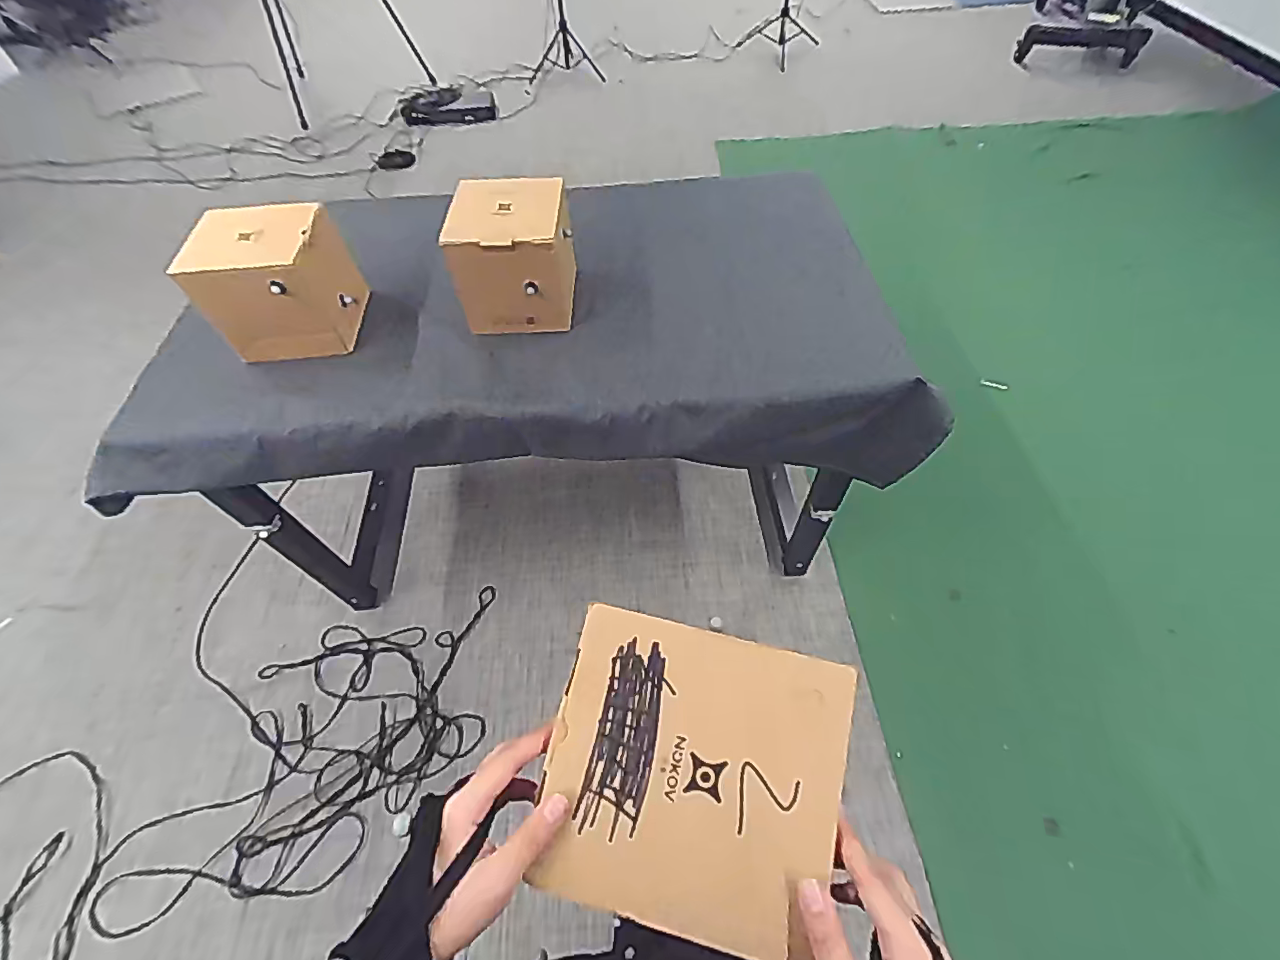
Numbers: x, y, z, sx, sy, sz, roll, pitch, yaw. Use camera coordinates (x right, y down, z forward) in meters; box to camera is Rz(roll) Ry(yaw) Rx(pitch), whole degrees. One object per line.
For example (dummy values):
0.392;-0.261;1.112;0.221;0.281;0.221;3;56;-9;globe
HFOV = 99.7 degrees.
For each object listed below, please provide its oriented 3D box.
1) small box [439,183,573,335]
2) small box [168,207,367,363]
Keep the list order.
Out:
-0.202;-0.351;0.872;0.168;0.176;0.179;-1;54;0;small box
-0.565;-0.301;0.851;0.179;0.176;0.168;-6;55;-2;small box
